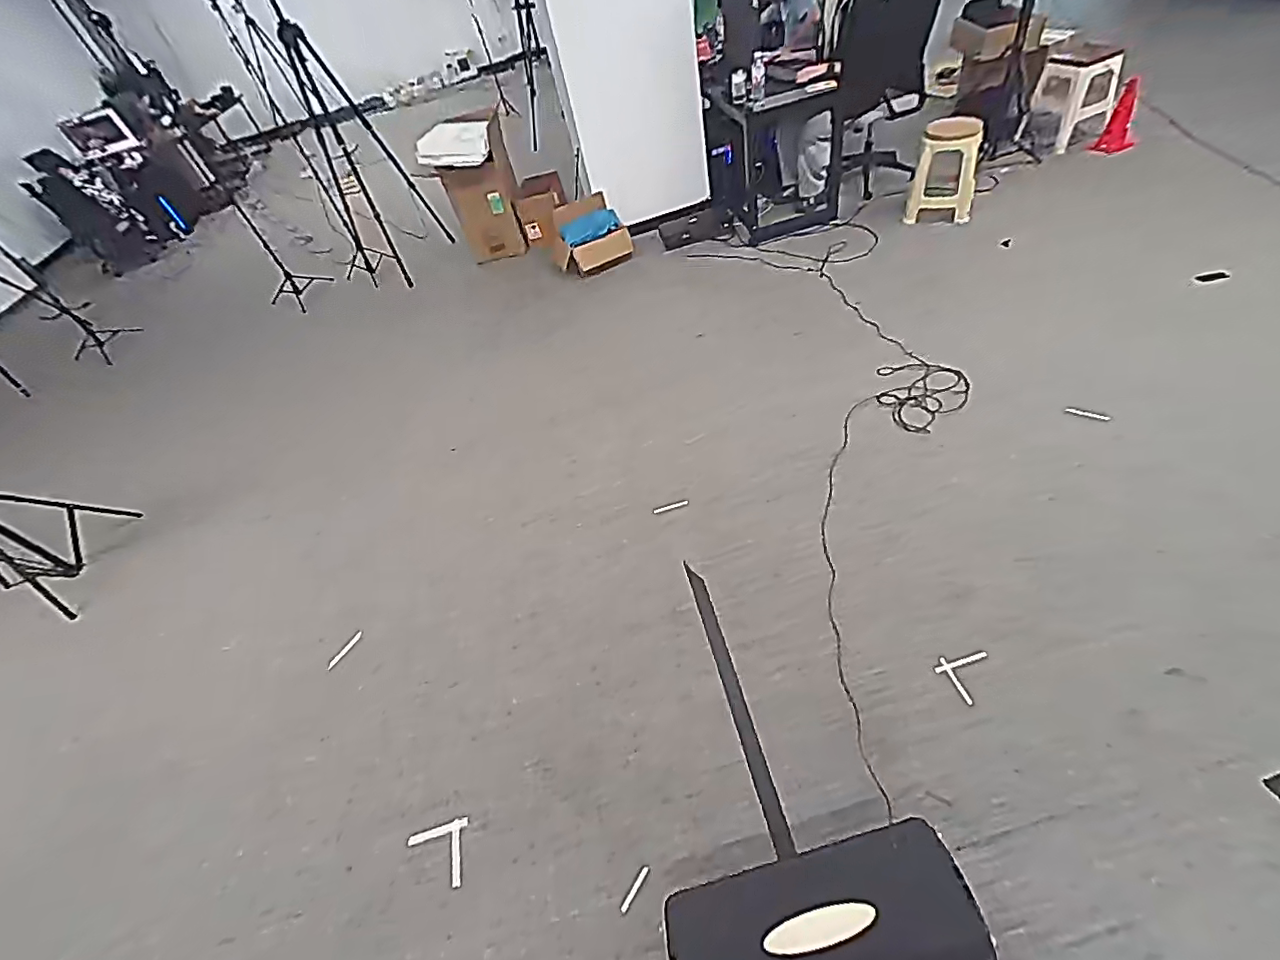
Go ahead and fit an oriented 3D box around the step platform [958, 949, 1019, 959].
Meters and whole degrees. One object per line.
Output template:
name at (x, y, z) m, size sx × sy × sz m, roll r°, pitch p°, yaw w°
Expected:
step platform at (0.457, 1.131, 0.982) m, size 0.684 × 0.204 × 0.286 m, roll -19°, pitch 46°, yaw 0°
